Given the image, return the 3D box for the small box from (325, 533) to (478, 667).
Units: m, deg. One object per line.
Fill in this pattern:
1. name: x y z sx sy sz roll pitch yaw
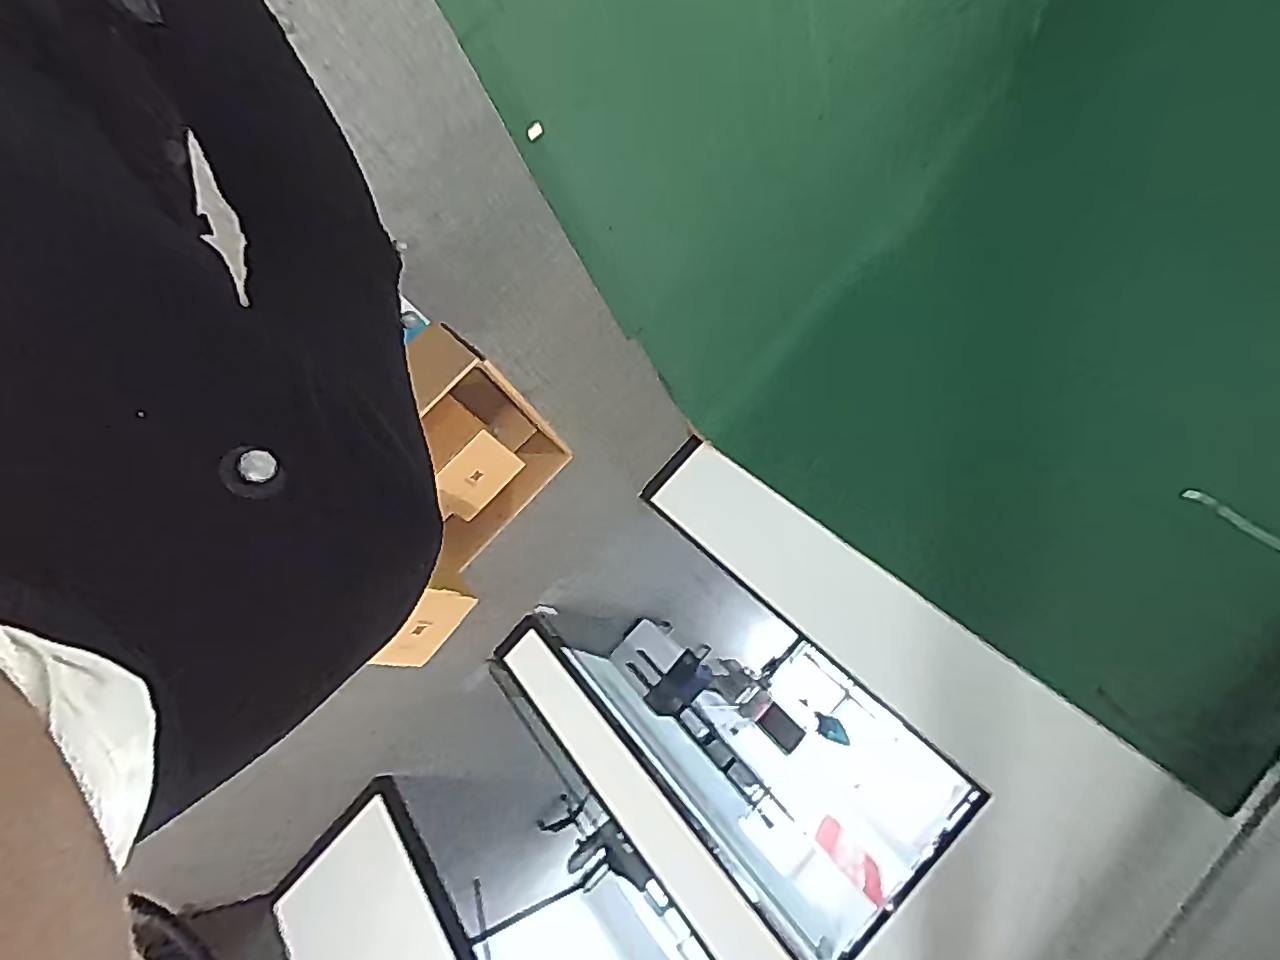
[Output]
1. small box: -0.453 0.226 1.023 0.179 0.176 0.168 -49 149 -1
